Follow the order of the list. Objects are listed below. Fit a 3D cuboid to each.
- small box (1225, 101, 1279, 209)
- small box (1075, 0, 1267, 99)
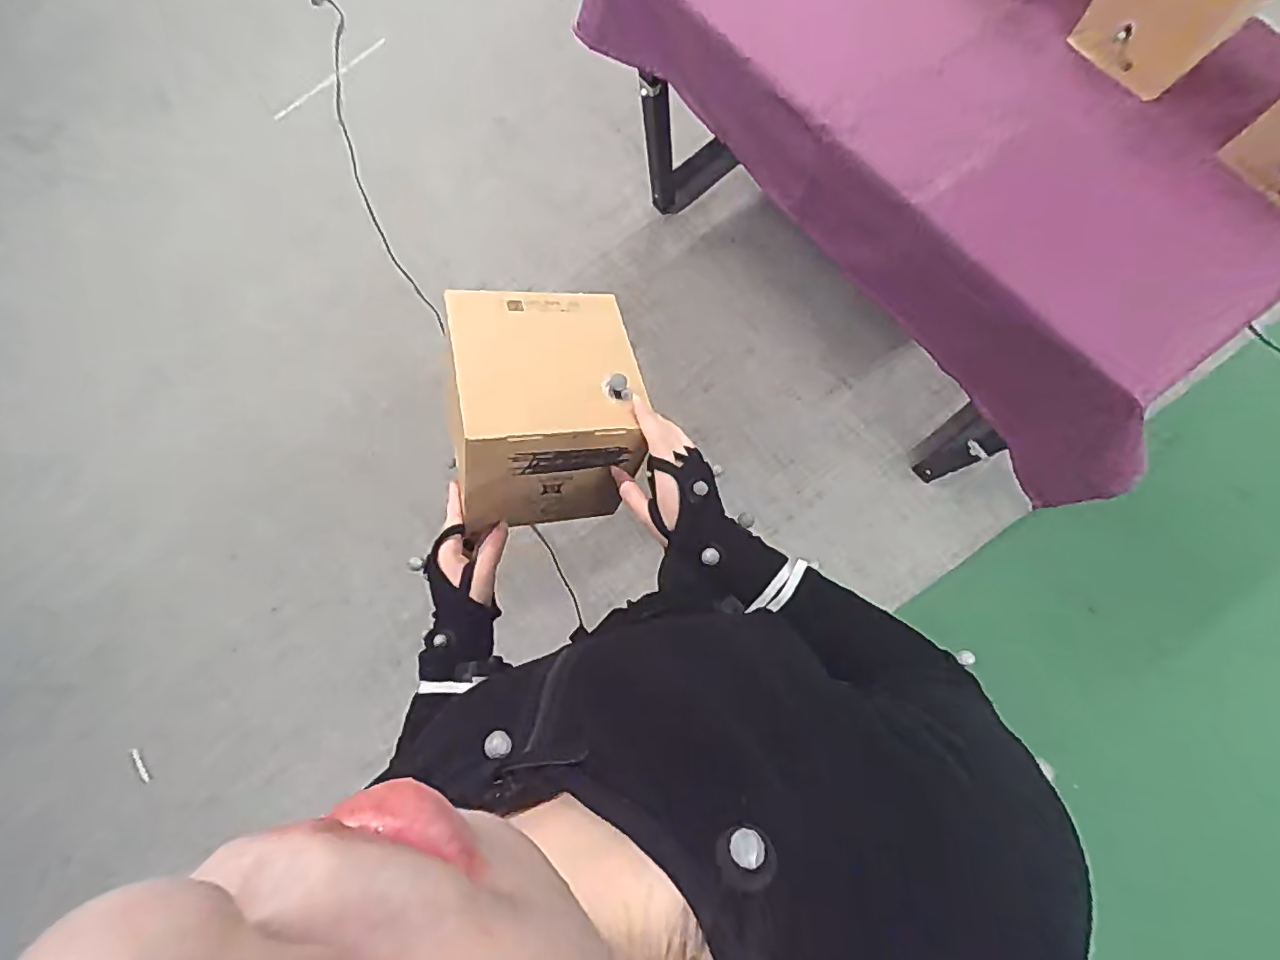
[{"bbox_3d":[0.965,-0.487,0.711,0.179,0.176,0.168,-37,77,1],"label":"small box"},{"bbox_3d":[0.795,-0.711,0.776,0.179,0.176,0.168,-39,78,-1],"label":"small box"}]
